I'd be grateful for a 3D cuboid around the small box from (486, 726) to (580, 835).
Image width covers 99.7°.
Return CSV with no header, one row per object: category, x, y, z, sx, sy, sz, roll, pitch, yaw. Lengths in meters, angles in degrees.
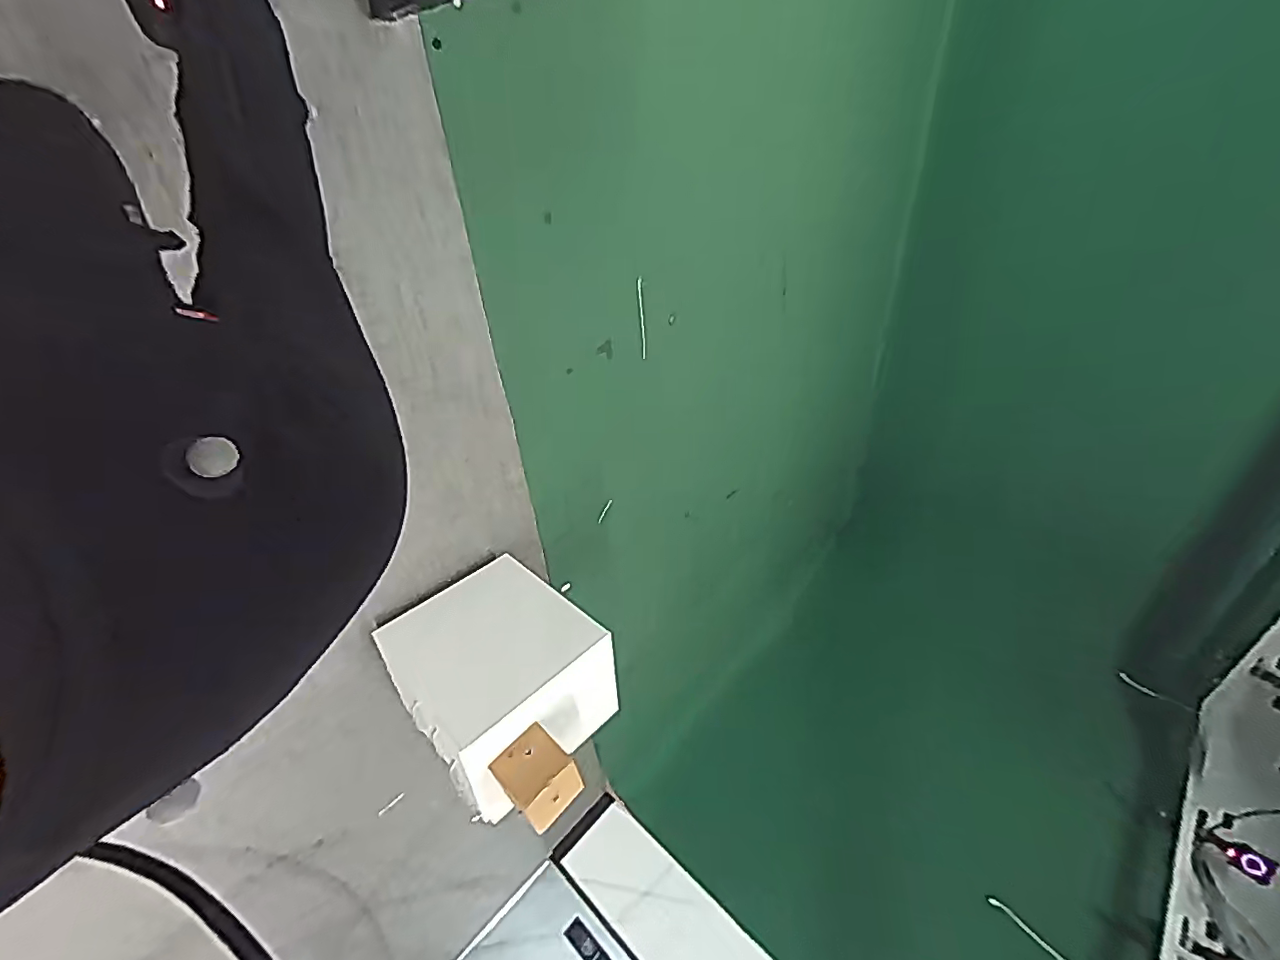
small box,-0.294,0.821,1.490,0.168,0.176,0.179,-37,136,-32
